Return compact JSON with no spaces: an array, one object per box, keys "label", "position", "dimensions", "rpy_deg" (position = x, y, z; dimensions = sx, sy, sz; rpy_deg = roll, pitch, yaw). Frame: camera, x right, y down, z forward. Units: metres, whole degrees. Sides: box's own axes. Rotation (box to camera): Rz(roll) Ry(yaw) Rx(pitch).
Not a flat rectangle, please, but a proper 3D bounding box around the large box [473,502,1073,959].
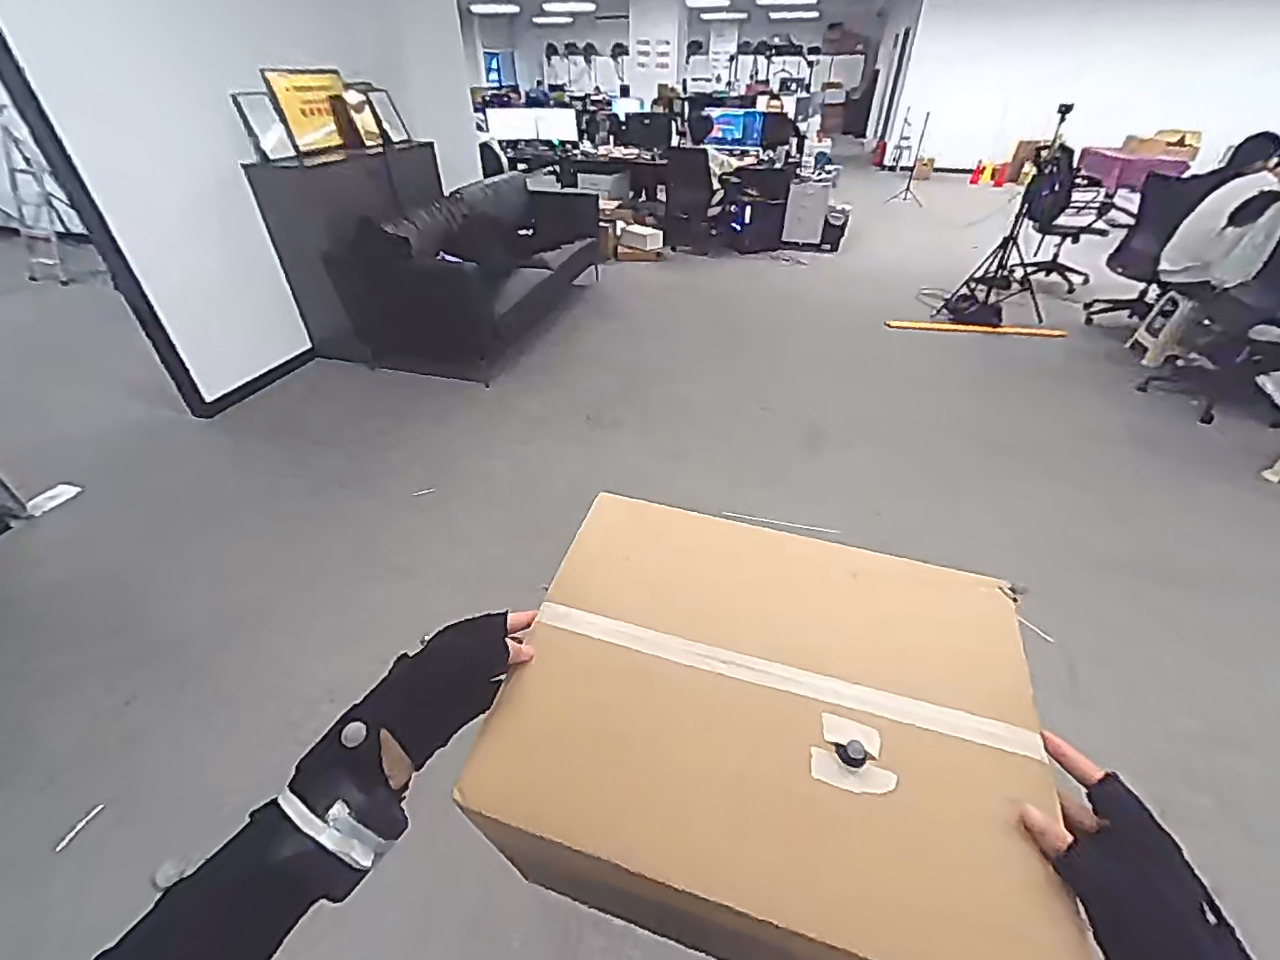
[{"label":"large box","position":[0.108,0.267,0.560],"dimensions":[0.408,0.320,0.320],"rpy_deg":[11,47,13]}]
